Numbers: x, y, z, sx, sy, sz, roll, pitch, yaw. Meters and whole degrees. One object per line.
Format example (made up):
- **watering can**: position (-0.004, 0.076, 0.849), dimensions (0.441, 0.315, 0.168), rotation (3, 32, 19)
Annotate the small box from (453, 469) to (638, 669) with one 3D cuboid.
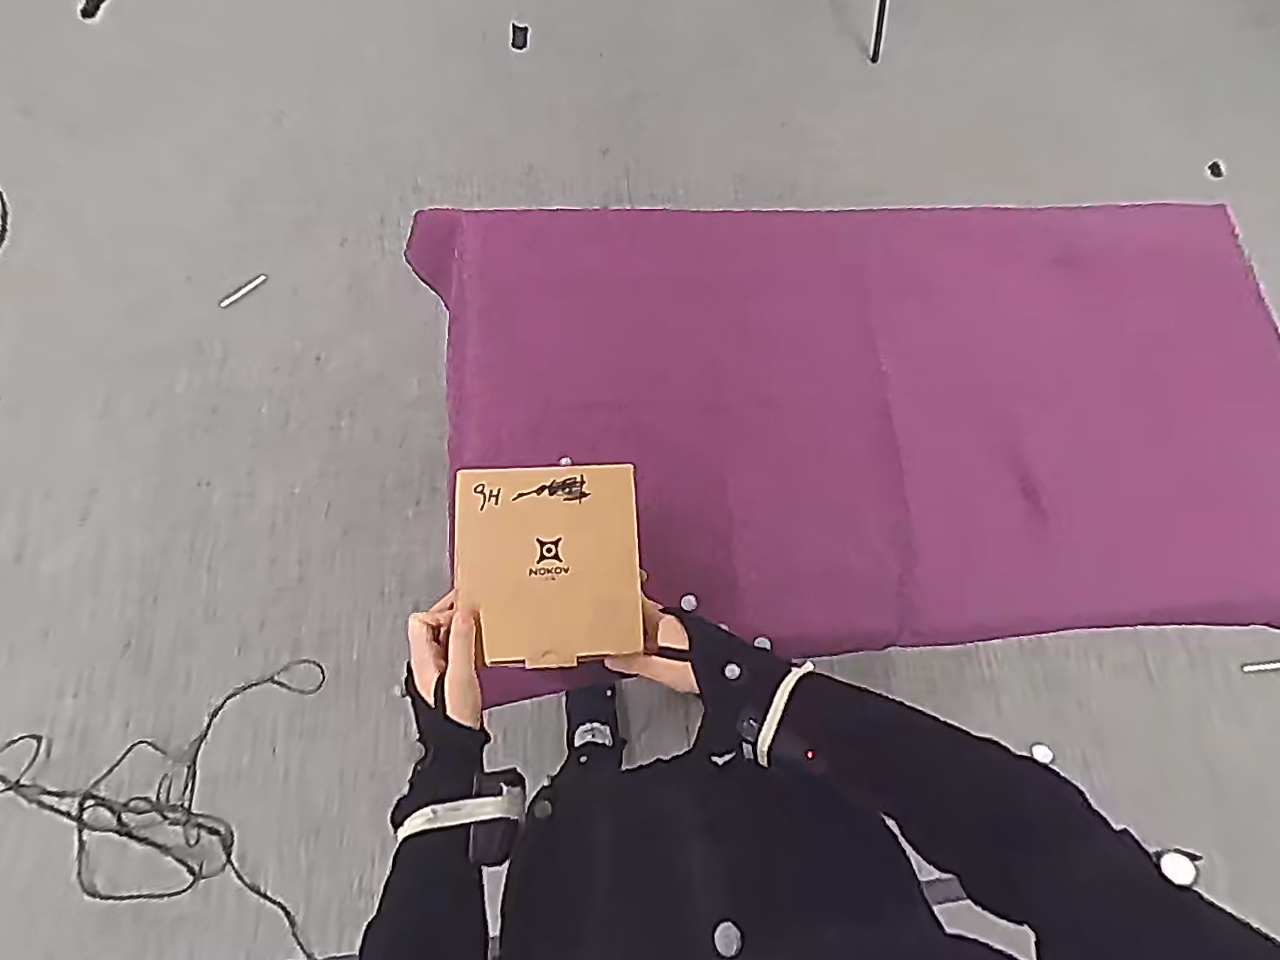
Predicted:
- **small box**: position (-0.092, 0.092, 0.568), dimensions (0.168, 0.176, 0.179), rotation (-2, 78, -6)
